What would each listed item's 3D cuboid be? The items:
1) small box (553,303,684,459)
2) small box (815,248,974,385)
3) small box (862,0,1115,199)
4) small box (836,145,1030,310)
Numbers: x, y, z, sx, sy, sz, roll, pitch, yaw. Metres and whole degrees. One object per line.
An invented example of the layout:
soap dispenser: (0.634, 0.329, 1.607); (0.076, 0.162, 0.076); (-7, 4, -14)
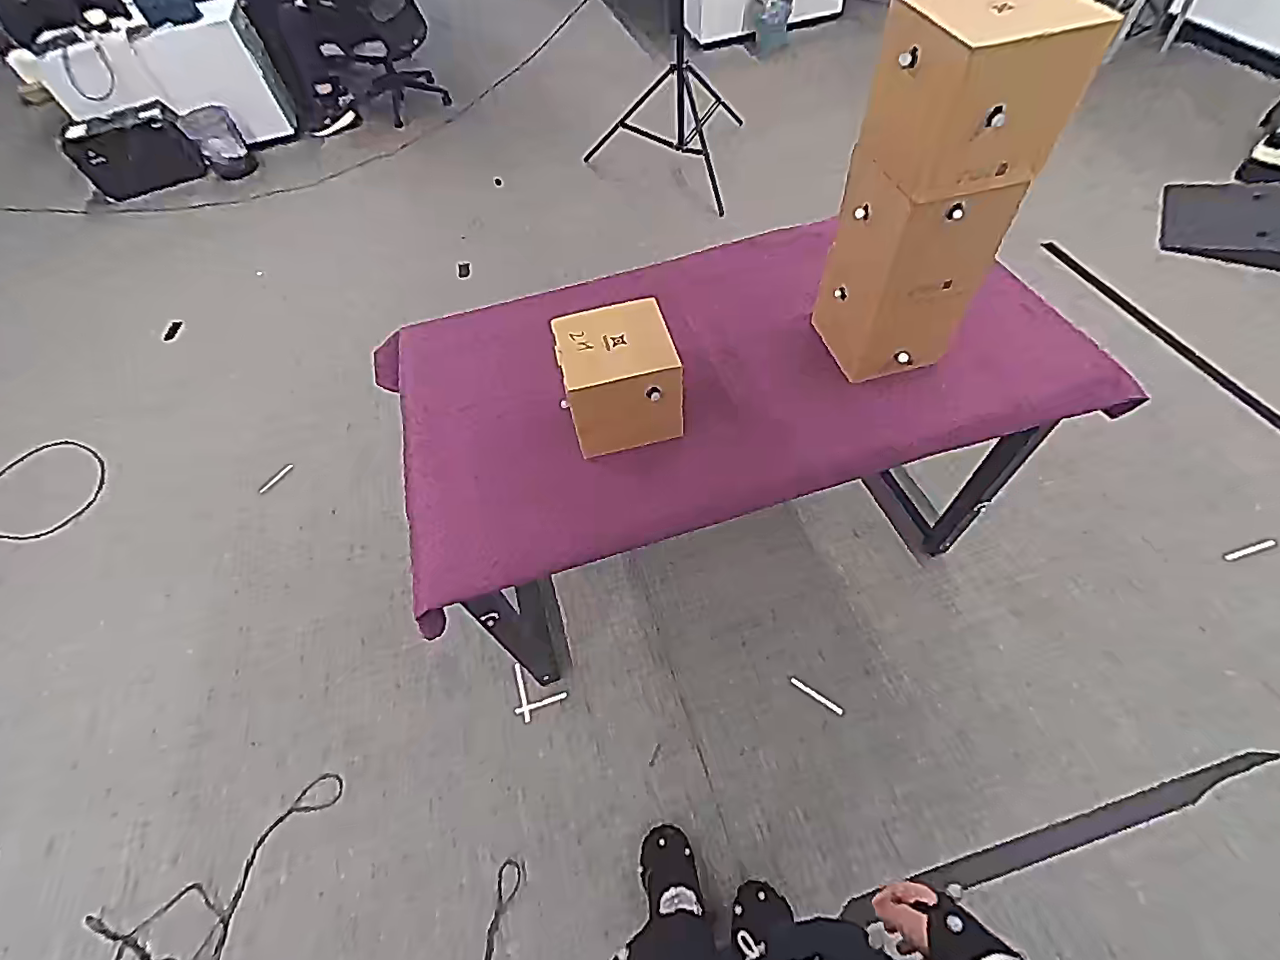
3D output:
small box: (-0.032, -0.158, 0.892); (0.179, 0.176, 0.168); (-14, 55, -3)
small box: (0.423, -0.295, 0.938); (0.168, 0.176, 0.179); (-15, 57, -3)
small box: (0.399, -0.467, 0.660); (0.168, 0.176, 0.179); (-13, 56, -2)
small box: (0.410, -0.382, 0.799); (0.168, 0.176, 0.179); (-13, 55, -2)
